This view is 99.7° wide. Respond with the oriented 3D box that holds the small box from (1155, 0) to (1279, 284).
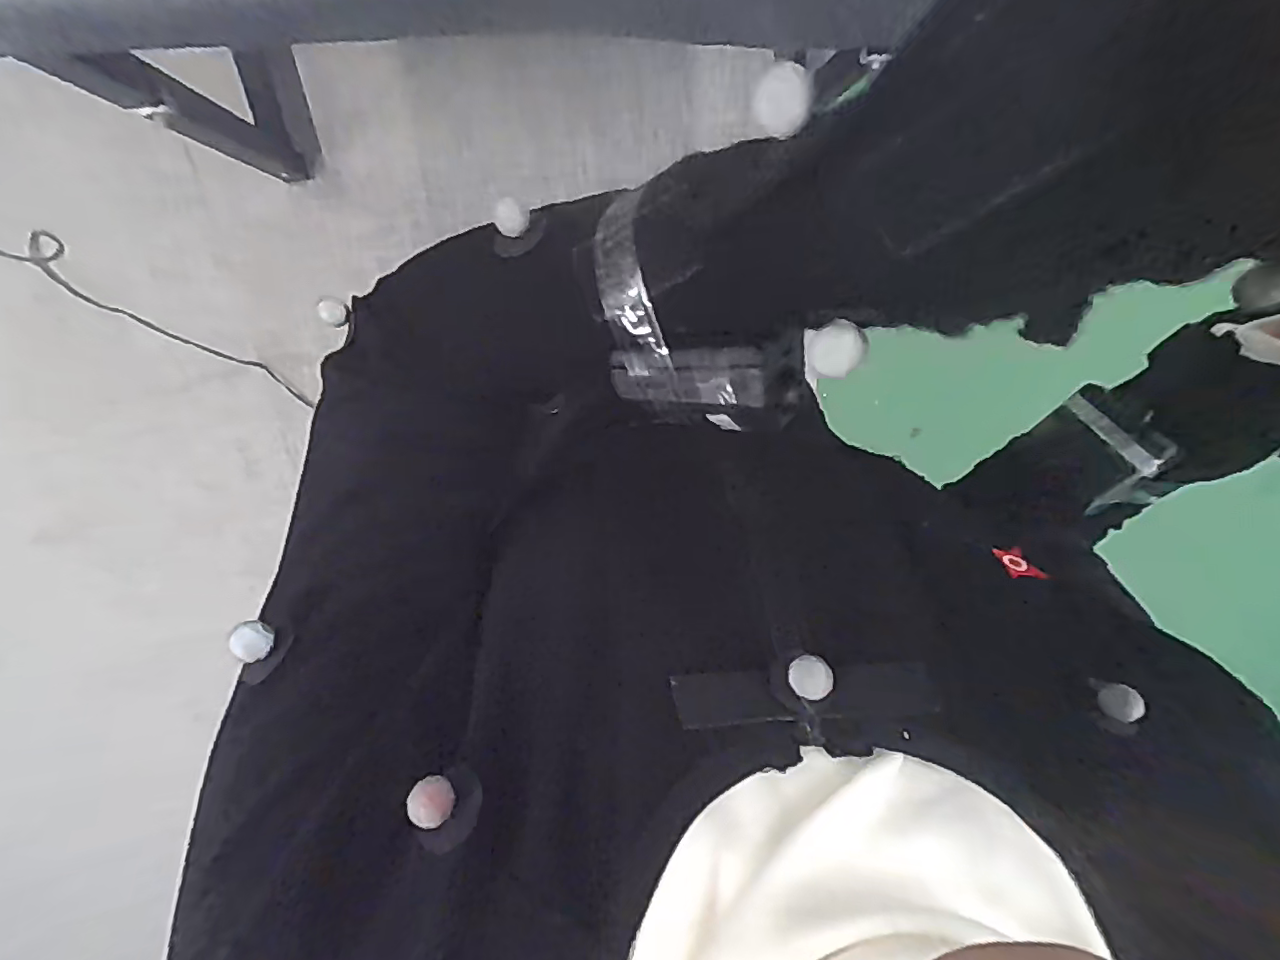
[{"bbox_3d":[0.256,-0.105,0.092,0.168,0.176,0.179,3,120,-21],"label":"small box"}]
